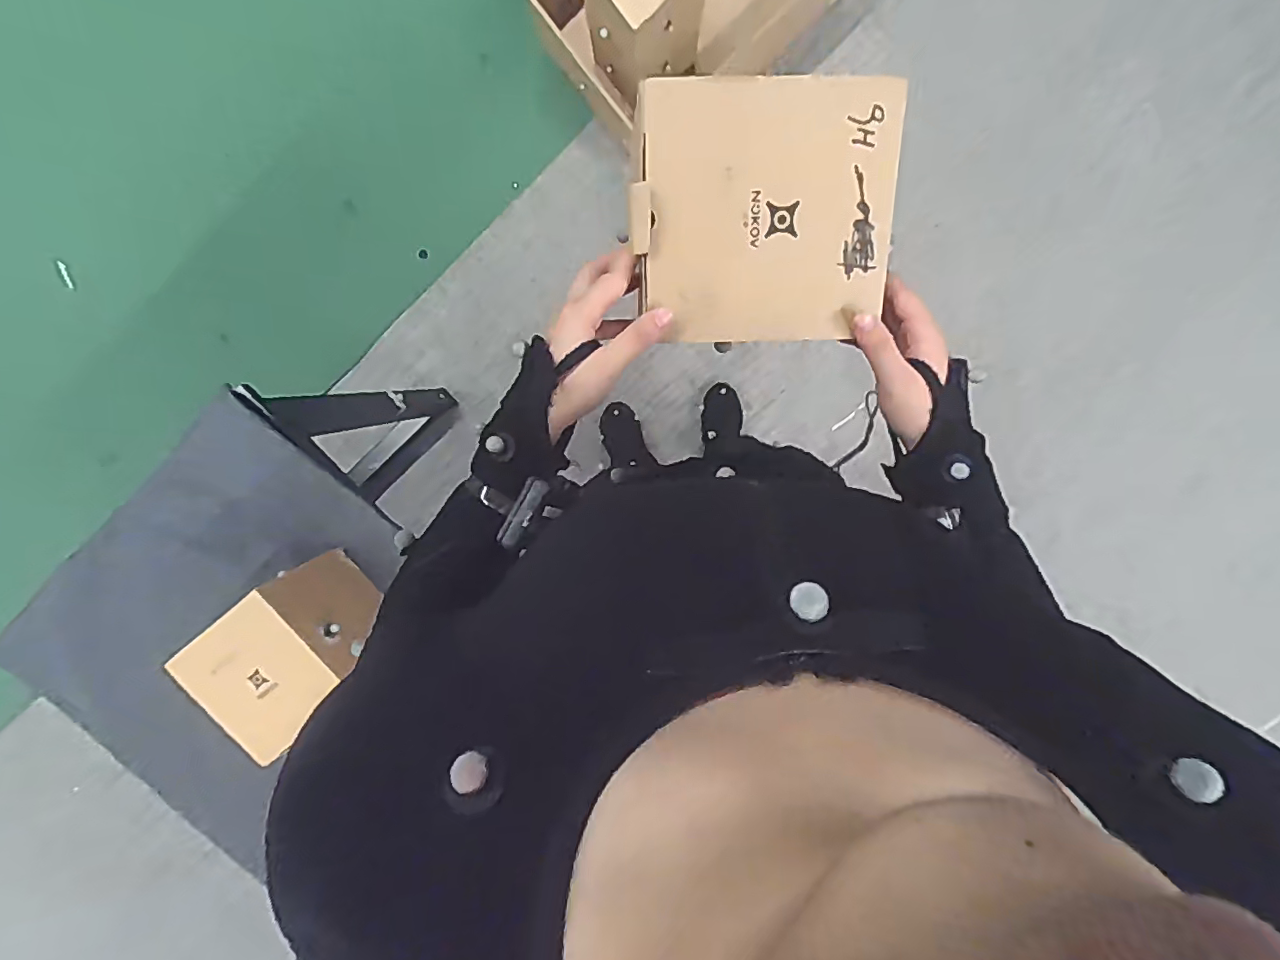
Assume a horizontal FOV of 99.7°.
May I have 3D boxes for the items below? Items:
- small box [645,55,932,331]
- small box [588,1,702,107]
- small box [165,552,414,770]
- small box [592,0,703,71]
[{"bbox_3d":[0.094,-0.207,0.435,0.179,0.176,0.168,-1,108,-3],"label":"small box"},{"bbox_3d":[0.012,-0.961,1.163,0.179,0.176,0.168,-40,98,7],"label":"small box"},{"bbox_3d":[-0.438,0.224,0.710,0.168,0.176,0.179,-38,97,8],"label":"small box"},{"bbox_3d":[0.012,-0.927,1.002,0.179,0.176,0.168,-39,97,8],"label":"small box"}]
